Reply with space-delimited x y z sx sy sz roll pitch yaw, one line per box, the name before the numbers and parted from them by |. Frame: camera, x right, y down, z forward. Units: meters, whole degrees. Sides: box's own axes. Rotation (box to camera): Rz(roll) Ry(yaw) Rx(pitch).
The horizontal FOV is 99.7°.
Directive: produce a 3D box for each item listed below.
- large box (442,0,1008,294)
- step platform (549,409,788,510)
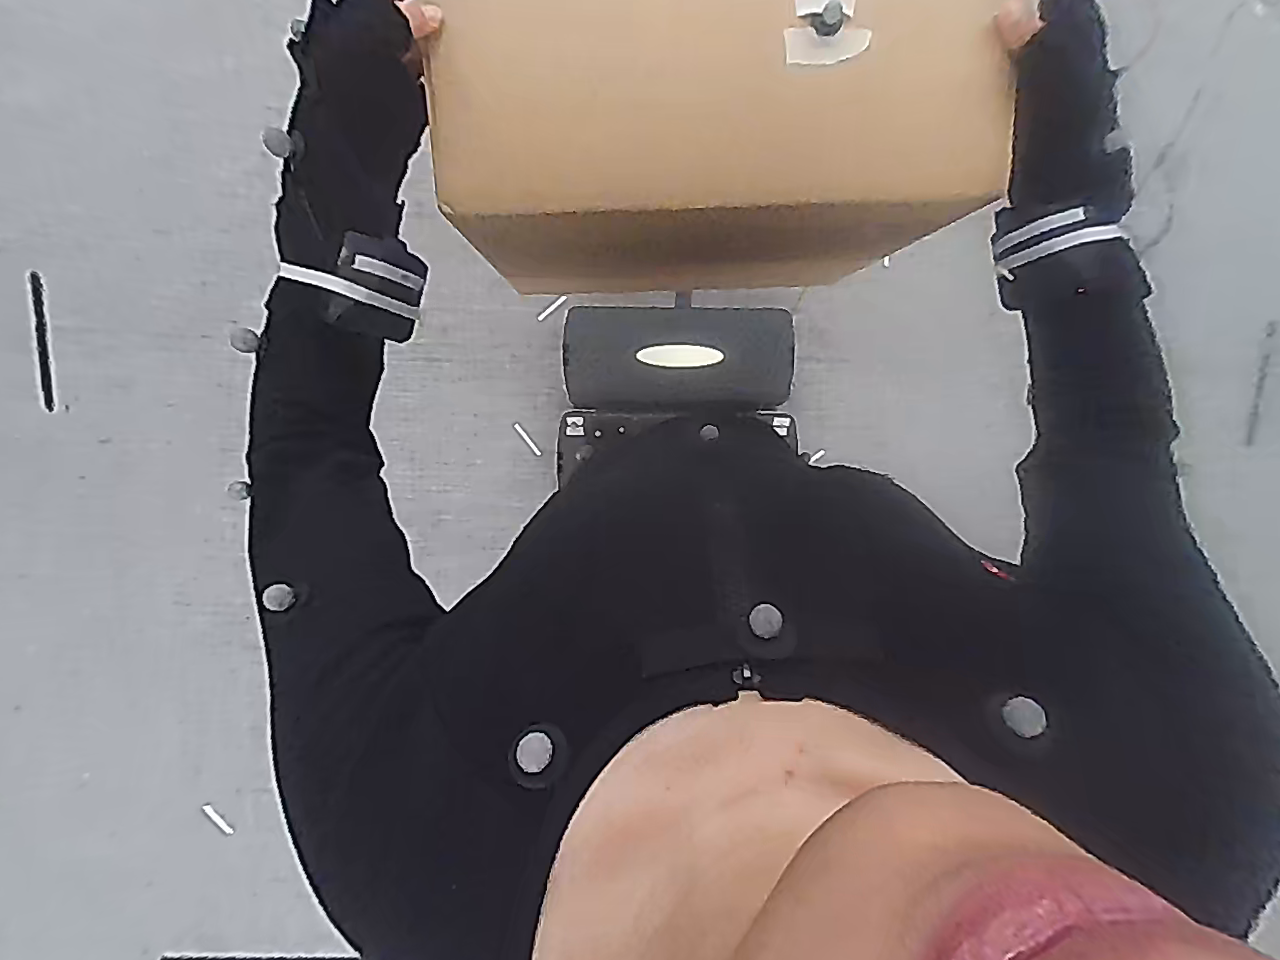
large box | 0.051 -0.376 0.518 0.408 0.320 0.320 -3 99 -3
step platform | 0.079 -0.061 1.575 0.684 0.204 0.286 -1 97 -1
